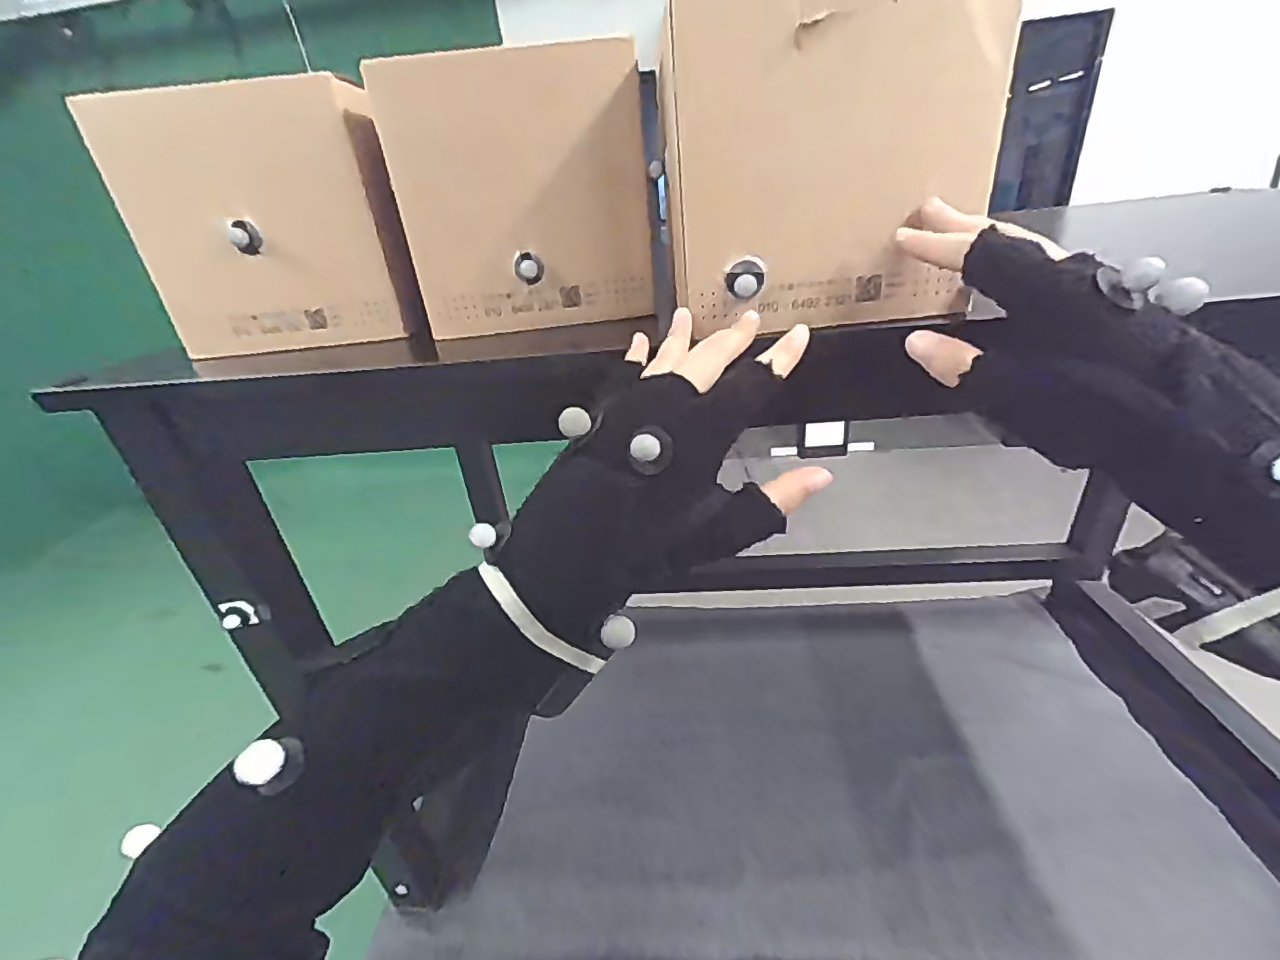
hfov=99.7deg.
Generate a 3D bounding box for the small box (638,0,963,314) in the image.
[{"bbox_3d":[0.089,-0.213,0.366,0.168,0.176,0.179,-5,27,2],"label":"small box"}]

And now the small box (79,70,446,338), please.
[{"bbox_3d":[-0.281,-0.221,0.460,0.168,0.176,0.179,-5,27,-1],"label":"small box"}]
